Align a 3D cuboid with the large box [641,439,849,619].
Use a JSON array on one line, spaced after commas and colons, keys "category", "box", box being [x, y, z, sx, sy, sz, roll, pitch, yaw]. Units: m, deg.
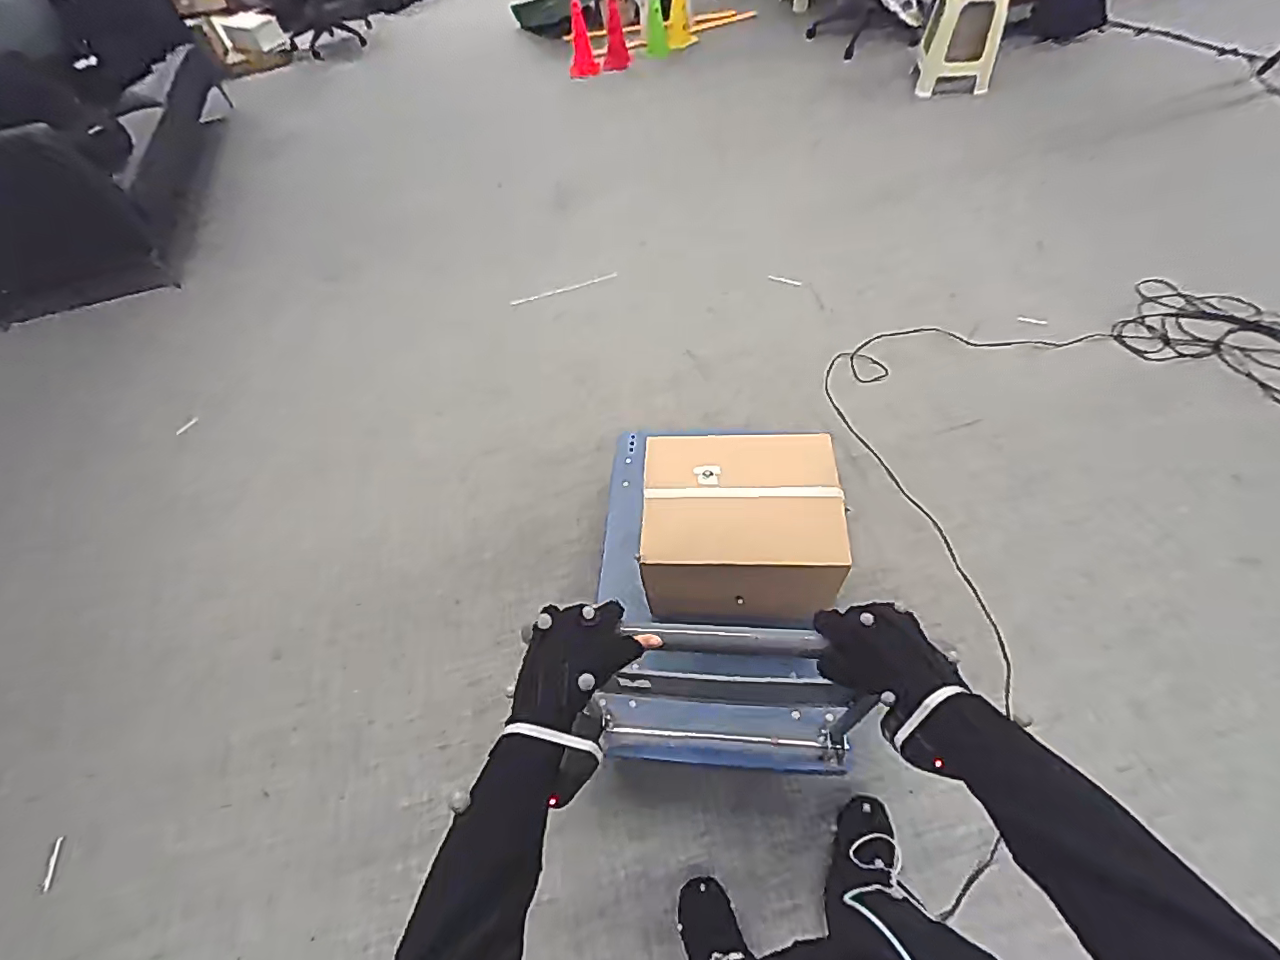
[{"category": "large box", "box": [0.226, 0.127, 1.250, 0.408, 0.320, 0.320, -2, 56, 8]}]
